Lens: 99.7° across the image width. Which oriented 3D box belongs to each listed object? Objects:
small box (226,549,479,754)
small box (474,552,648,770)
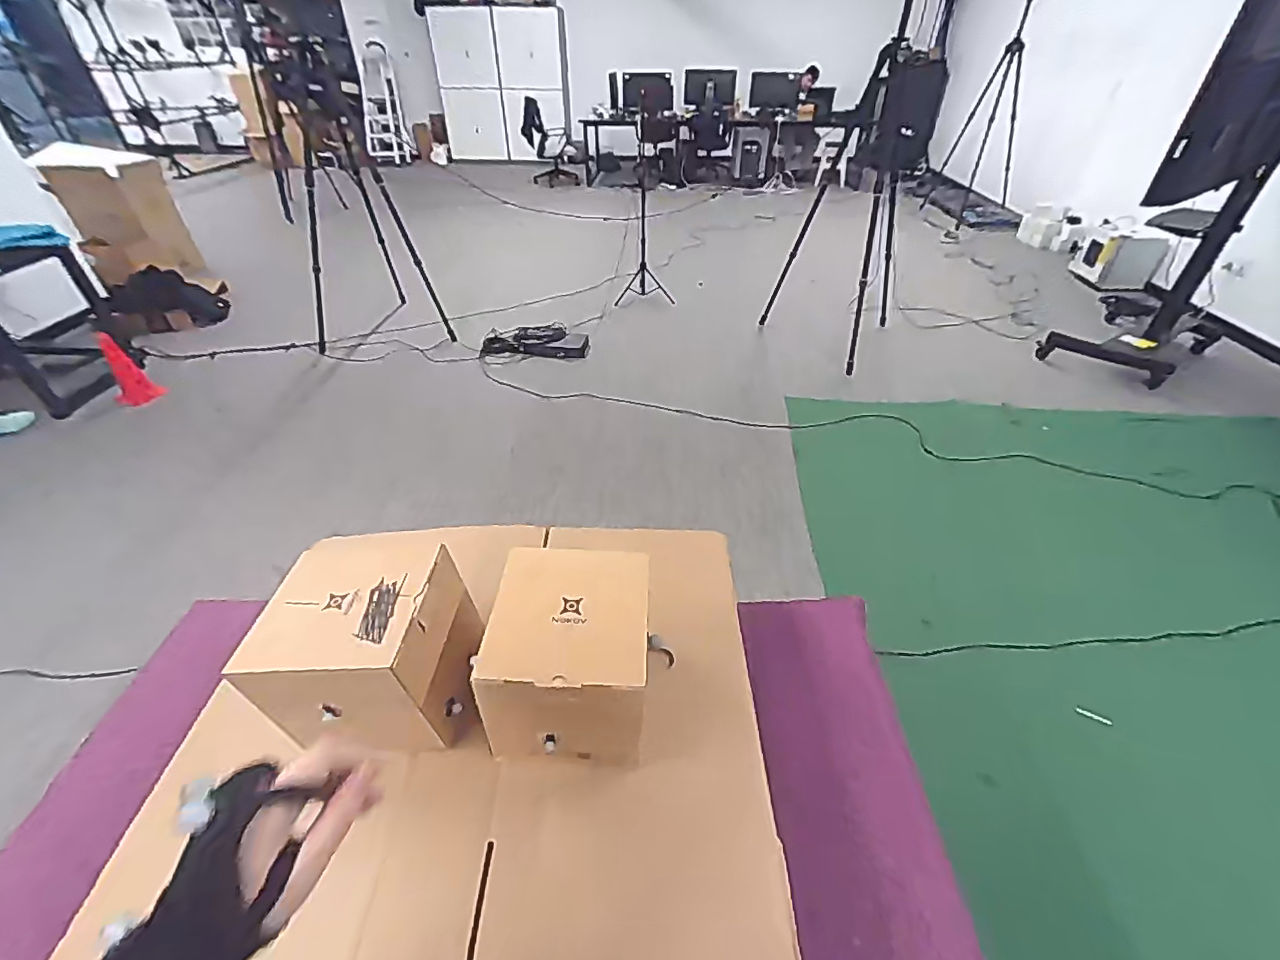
[{"bbox_3d":[-0.309,0.201,0.631,0.179,0.176,0.168,-4,38,6],"label":"small box"},{"bbox_3d":[-0.079,0.207,0.627,0.168,0.176,0.179,3,40,0],"label":"small box"}]
